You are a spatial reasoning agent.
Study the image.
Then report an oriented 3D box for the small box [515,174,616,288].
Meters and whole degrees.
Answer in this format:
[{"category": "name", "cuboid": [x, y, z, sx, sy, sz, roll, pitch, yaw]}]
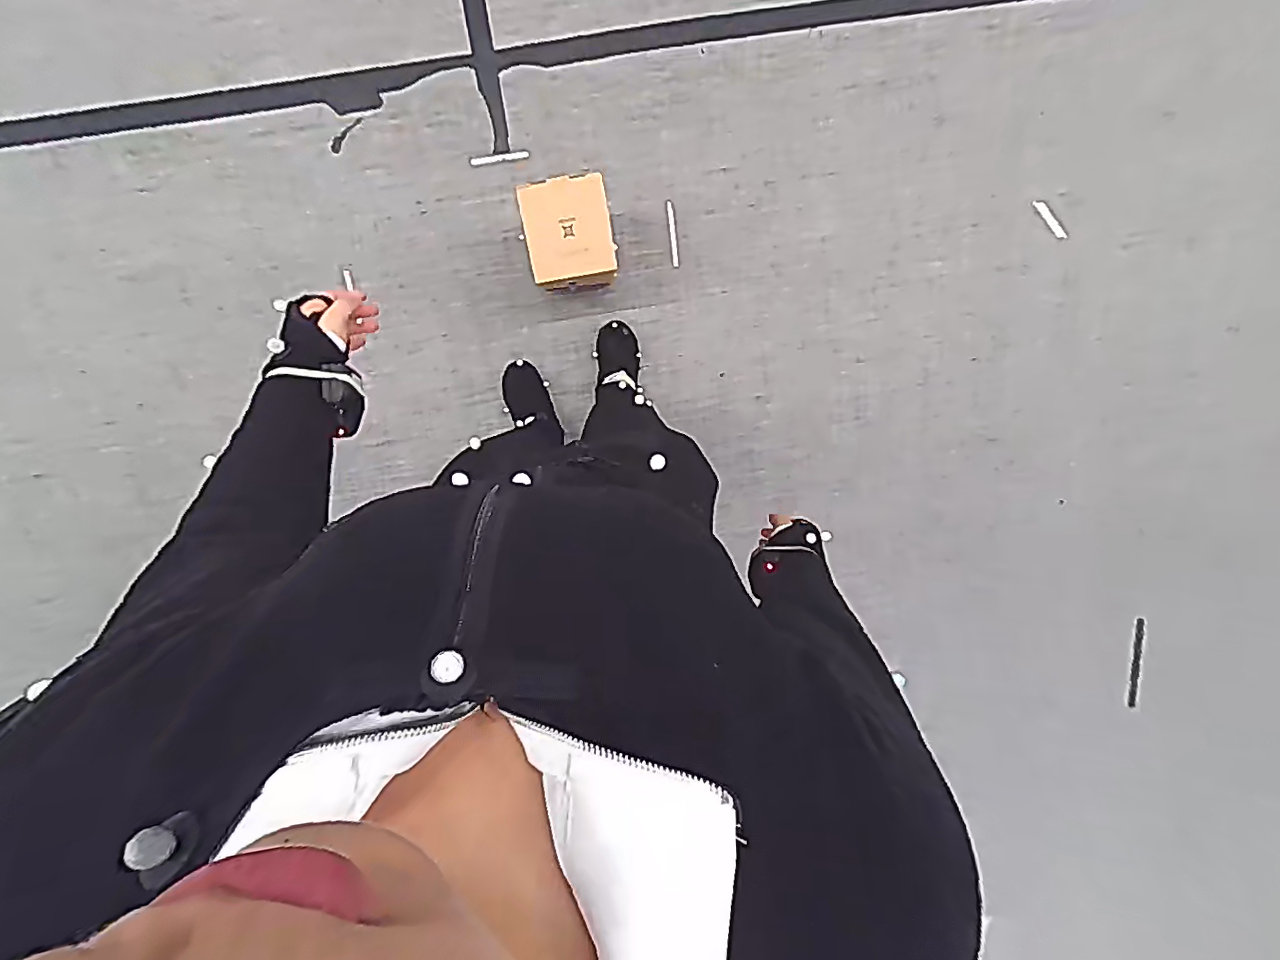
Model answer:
[{"category": "small box", "cuboid": [-0.149, -0.499, 1.106, 0.168, 0.176, 0.179, -11, 108, -2]}]
